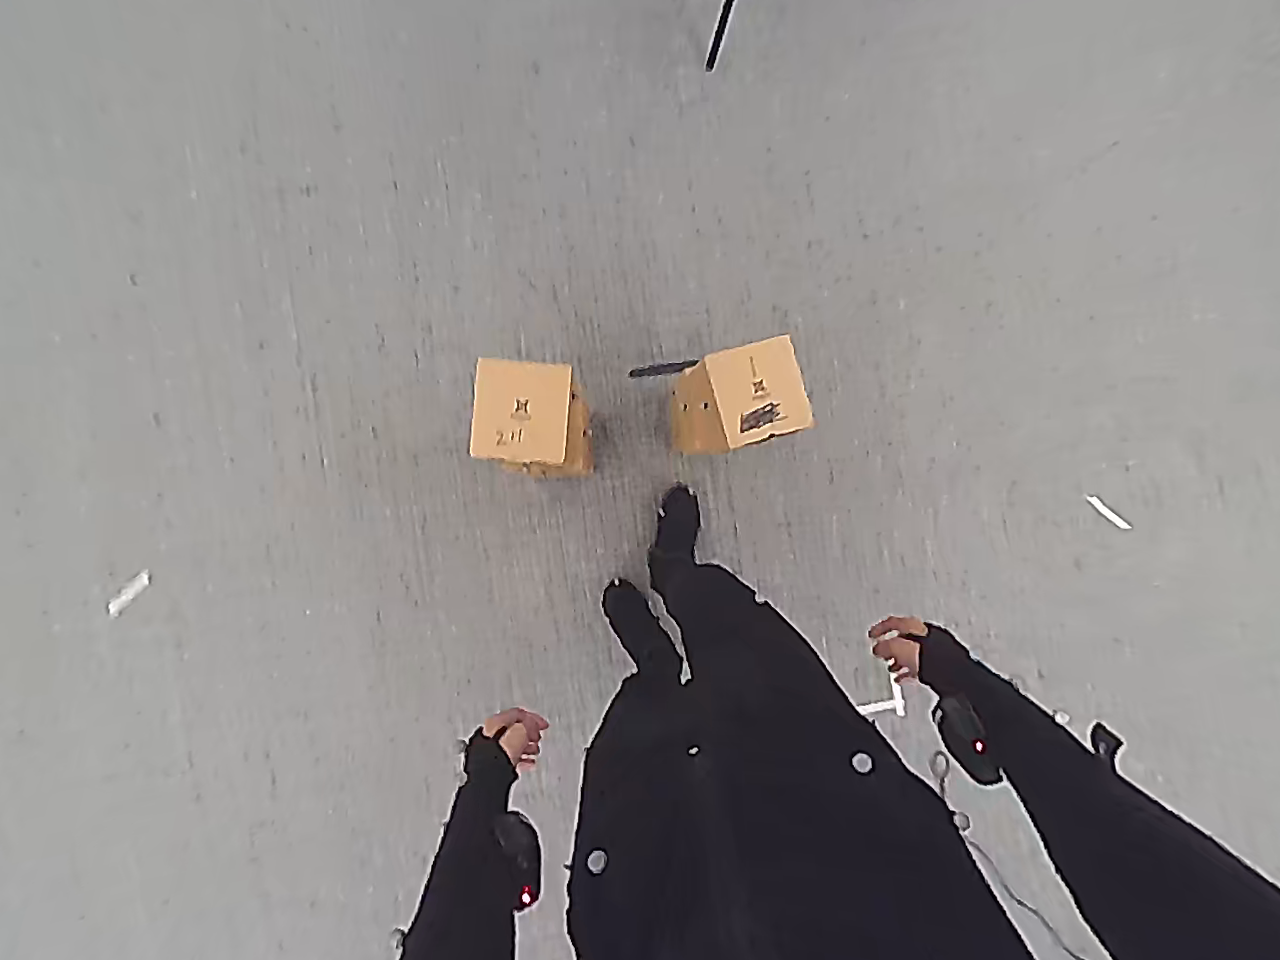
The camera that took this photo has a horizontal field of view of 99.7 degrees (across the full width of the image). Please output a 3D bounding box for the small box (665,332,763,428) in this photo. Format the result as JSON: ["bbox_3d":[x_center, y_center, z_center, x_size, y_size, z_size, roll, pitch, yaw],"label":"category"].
[{"bbox_3d":[0.153,-0.216,1.169,0.168,0.176,0.179,-8,89,-5],"label":"small box"}]

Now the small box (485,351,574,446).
[{"bbox_3d":[-0.228,-0.166,1.138,0.168,0.176,0.179,-1,90,-4],"label":"small box"}]

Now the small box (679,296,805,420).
[{"bbox_3d":[0.181,-0.214,1.005,0.168,0.176,0.179,-15,91,-5],"label":"small box"}]

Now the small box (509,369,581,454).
[{"bbox_3d":[-0.230,-0.160,1.300,0.168,0.176,0.179,-4,89,-4],"label":"small box"}]
